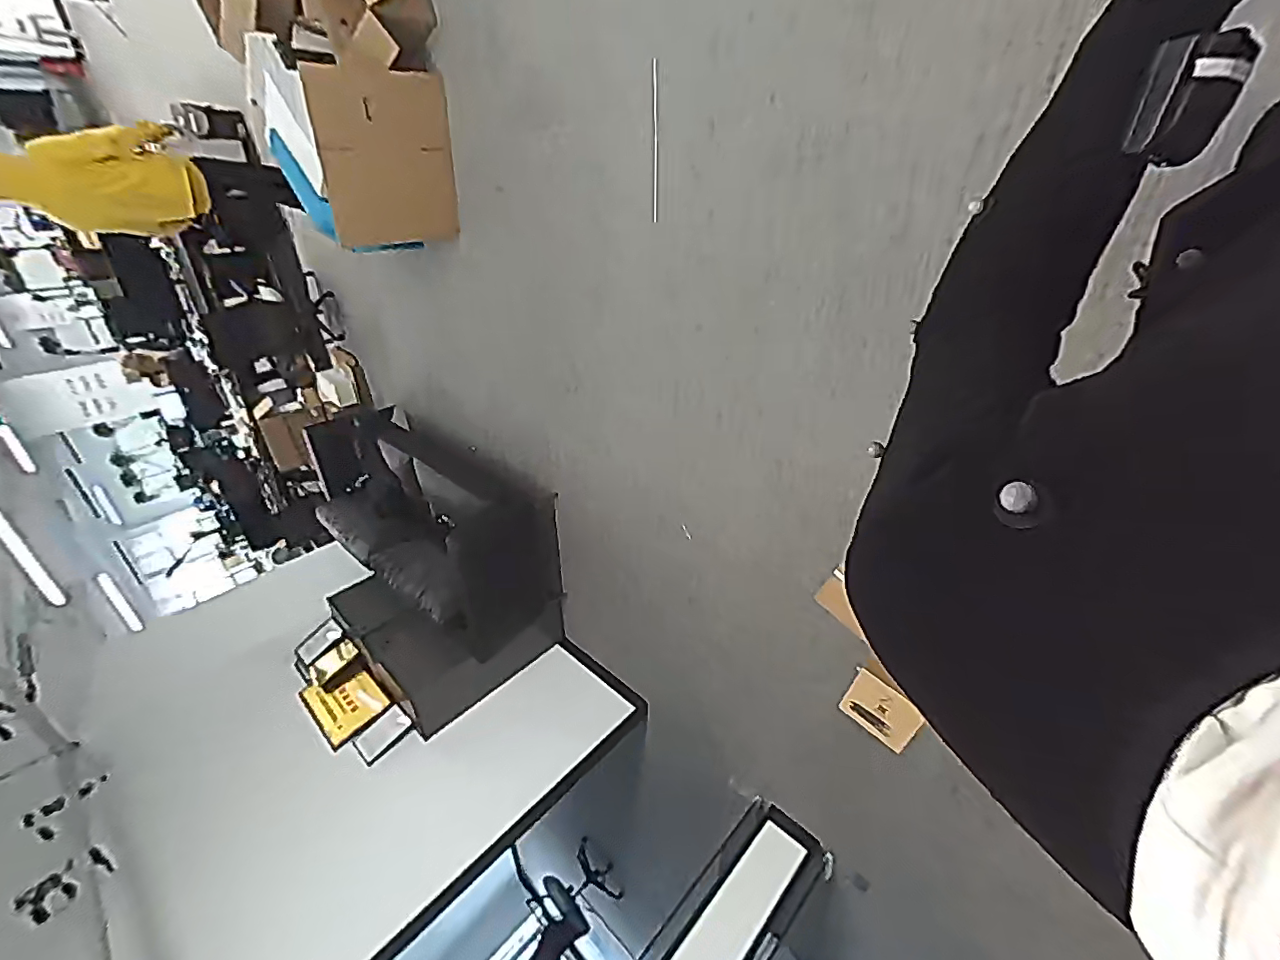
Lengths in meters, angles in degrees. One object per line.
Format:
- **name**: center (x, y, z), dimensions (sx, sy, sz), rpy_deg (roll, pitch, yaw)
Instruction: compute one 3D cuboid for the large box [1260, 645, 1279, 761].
- **large box**: center (1.524, 0.533, 1.026), dimensions (0.408, 0.320, 0.320), rpy_deg (-16, 101, 50)
